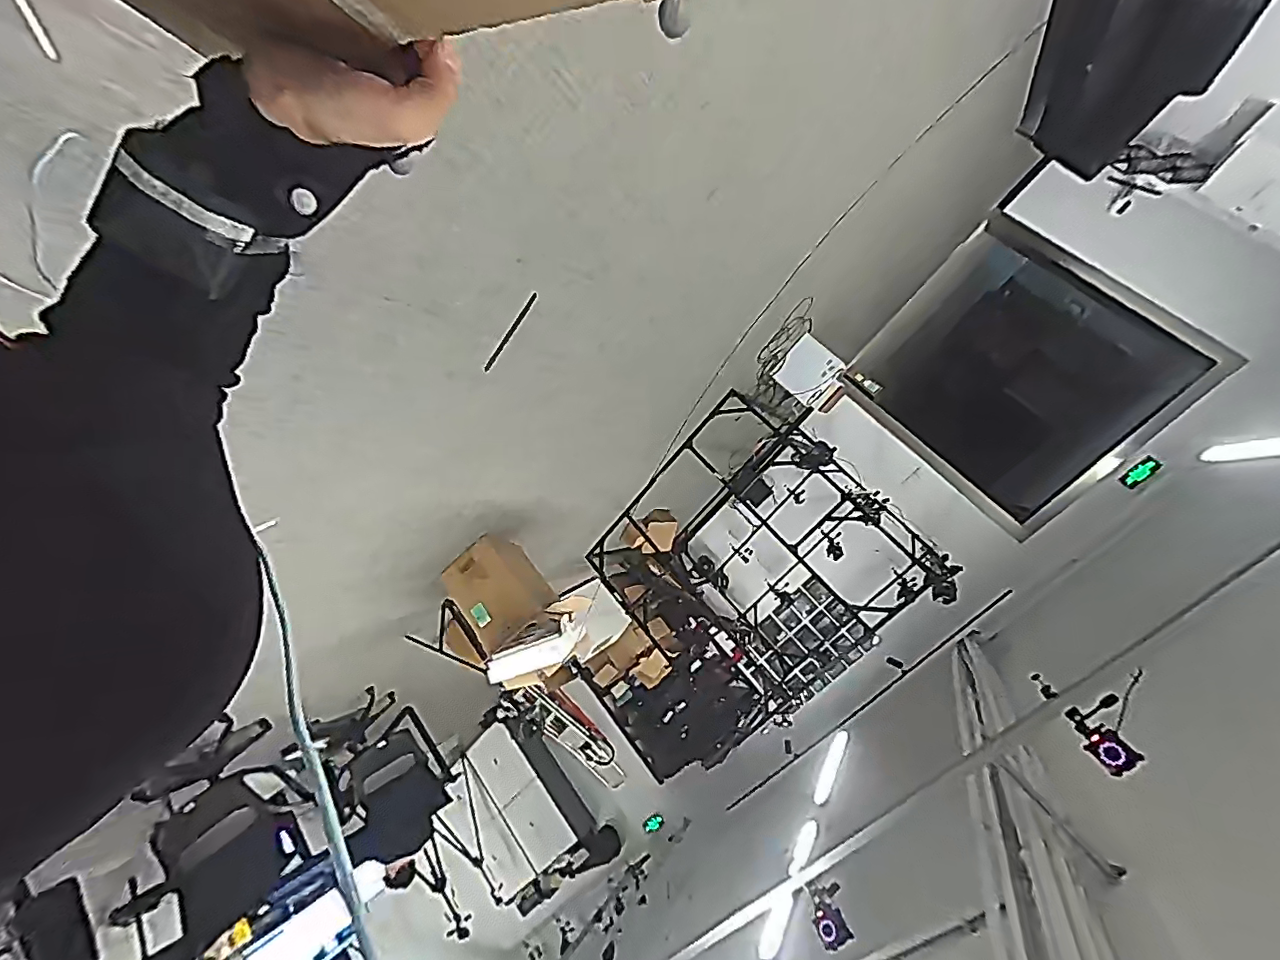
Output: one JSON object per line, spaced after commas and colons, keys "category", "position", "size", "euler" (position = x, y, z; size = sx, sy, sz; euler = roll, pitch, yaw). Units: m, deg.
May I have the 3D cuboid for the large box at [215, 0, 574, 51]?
{"category": "large box", "position": [-0.133, -0.378, 0.070], "size": [0.408, 0.320, 0.320], "euler": [8, 97, -64]}
